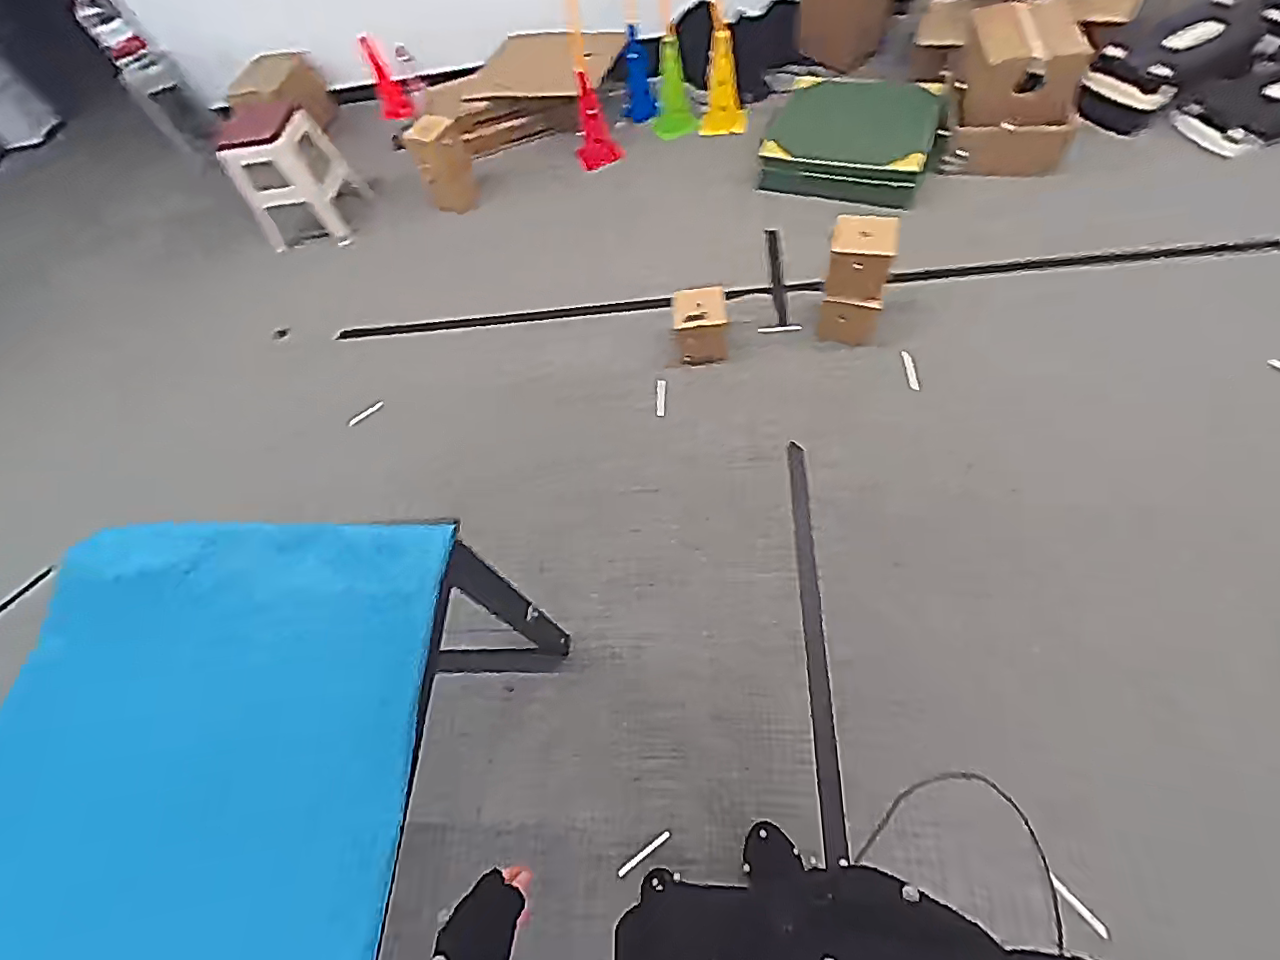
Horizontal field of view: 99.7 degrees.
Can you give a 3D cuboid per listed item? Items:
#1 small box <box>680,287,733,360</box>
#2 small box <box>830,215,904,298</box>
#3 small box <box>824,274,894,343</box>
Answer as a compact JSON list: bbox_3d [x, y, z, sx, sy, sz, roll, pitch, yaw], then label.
[{"bbox_3d":[0.226,-0.523,1.835,0.168,0.176,0.179,-4,59,8],"label":"small box"},{"bbox_3d":[0.688,-0.678,1.651,0.179,0.176,0.168,11,64,15],"label":"small box"},{"bbox_3d":[0.714,-0.574,1.779,0.179,0.176,0.168,13,63,15],"label":"small box"}]
